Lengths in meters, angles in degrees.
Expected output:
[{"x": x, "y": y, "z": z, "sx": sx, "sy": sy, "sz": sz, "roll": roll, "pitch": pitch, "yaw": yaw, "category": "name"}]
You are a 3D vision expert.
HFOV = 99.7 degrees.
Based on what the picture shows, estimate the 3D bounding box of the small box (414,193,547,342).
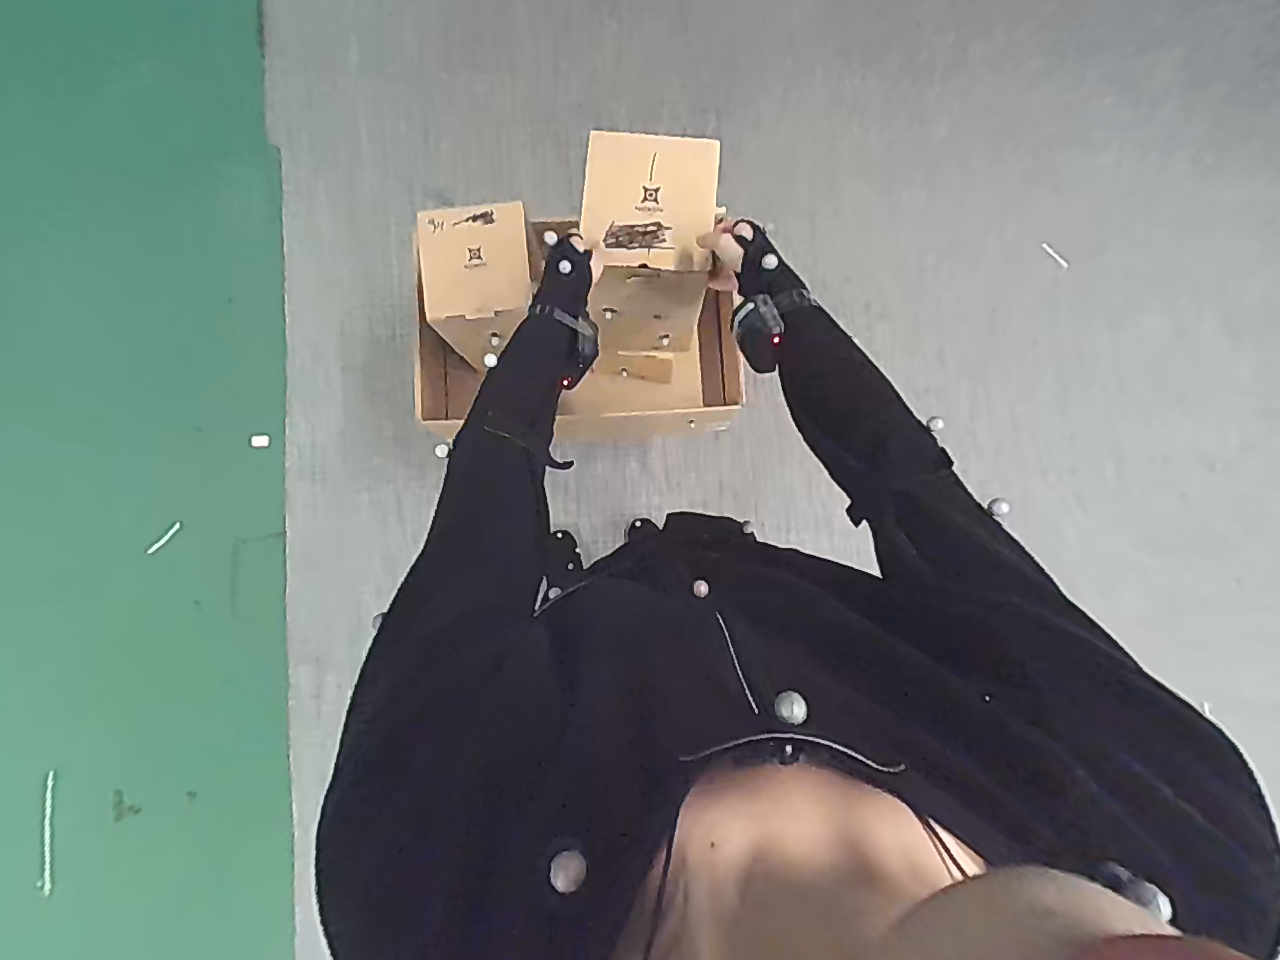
[{"x": -0.252, "y": -0.335, "z": 0.889, "sx": 0.168, "sy": 0.176, "sz": 0.179, "roll": -6, "pitch": 86, "yaw": -2, "category": "small box"}]

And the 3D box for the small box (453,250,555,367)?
[{"x": -0.264, "y": -0.335, "z": 1.053, "sx": 0.168, "sy": 0.176, "sz": 0.179, "roll": -6, "pitch": 86, "yaw": -1, "category": "small box"}]

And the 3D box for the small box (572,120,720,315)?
[{"x": 0.010, "y": -0.339, "z": 0.729, "sx": 0.168, "sy": 0.176, "sz": 0.179, "roll": 6, "pitch": 85, "yaw": 1, "category": "small box"}]

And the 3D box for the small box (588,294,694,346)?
[{"x": 0.009, "y": -0.330, "z": 0.894, "sx": 0.168, "sy": 0.176, "sz": 0.179, "roll": 3, "pitch": 86, "yaw": 1, "category": "small box"}]
